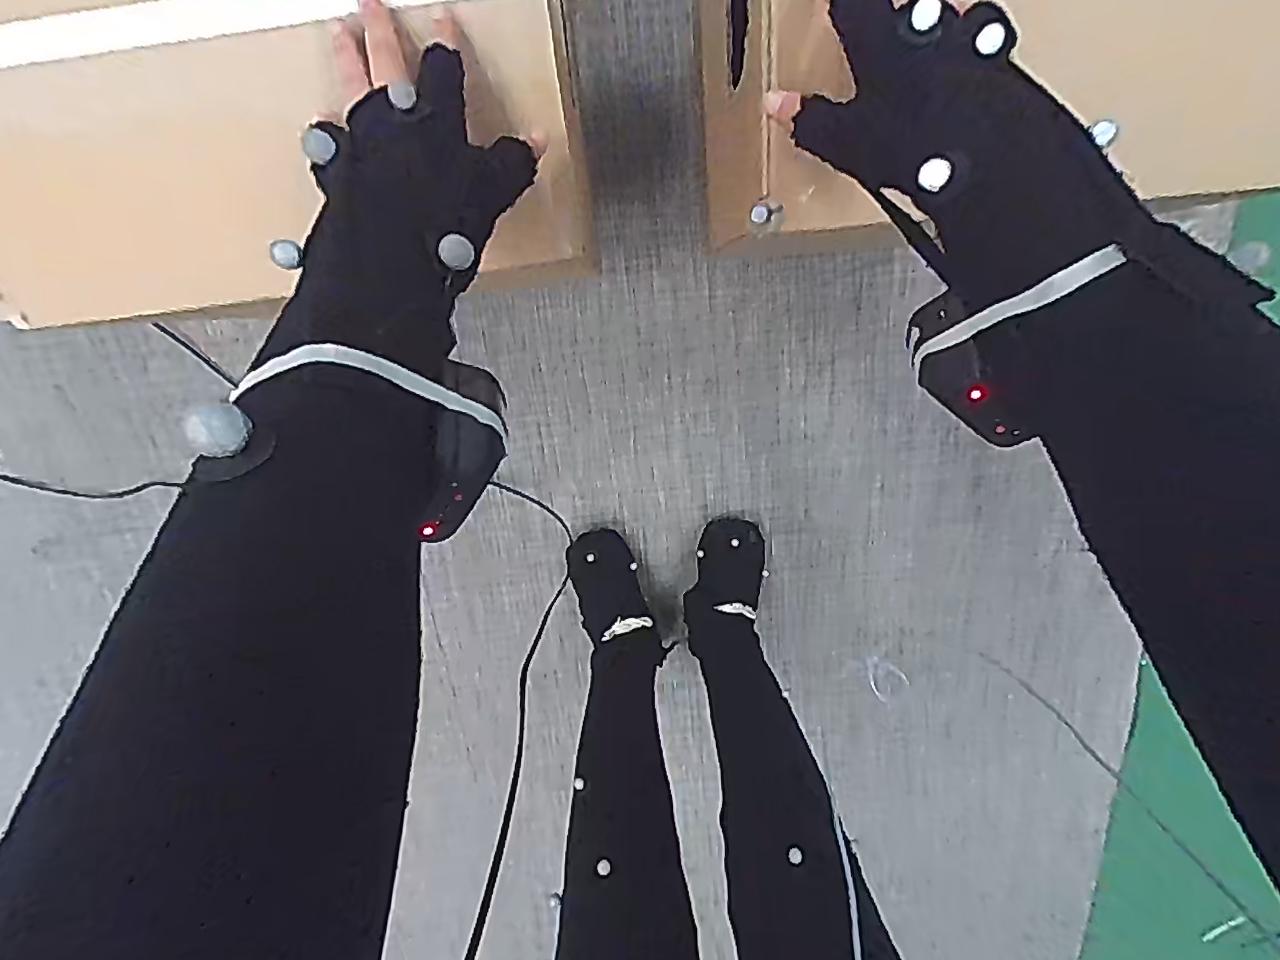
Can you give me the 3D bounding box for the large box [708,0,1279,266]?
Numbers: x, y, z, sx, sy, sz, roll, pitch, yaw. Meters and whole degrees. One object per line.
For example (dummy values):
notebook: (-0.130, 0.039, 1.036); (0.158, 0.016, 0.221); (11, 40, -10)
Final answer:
large box: (0.283, -0.380, 0.490); (0.408, 0.320, 0.320); (-4, 108, 1)
